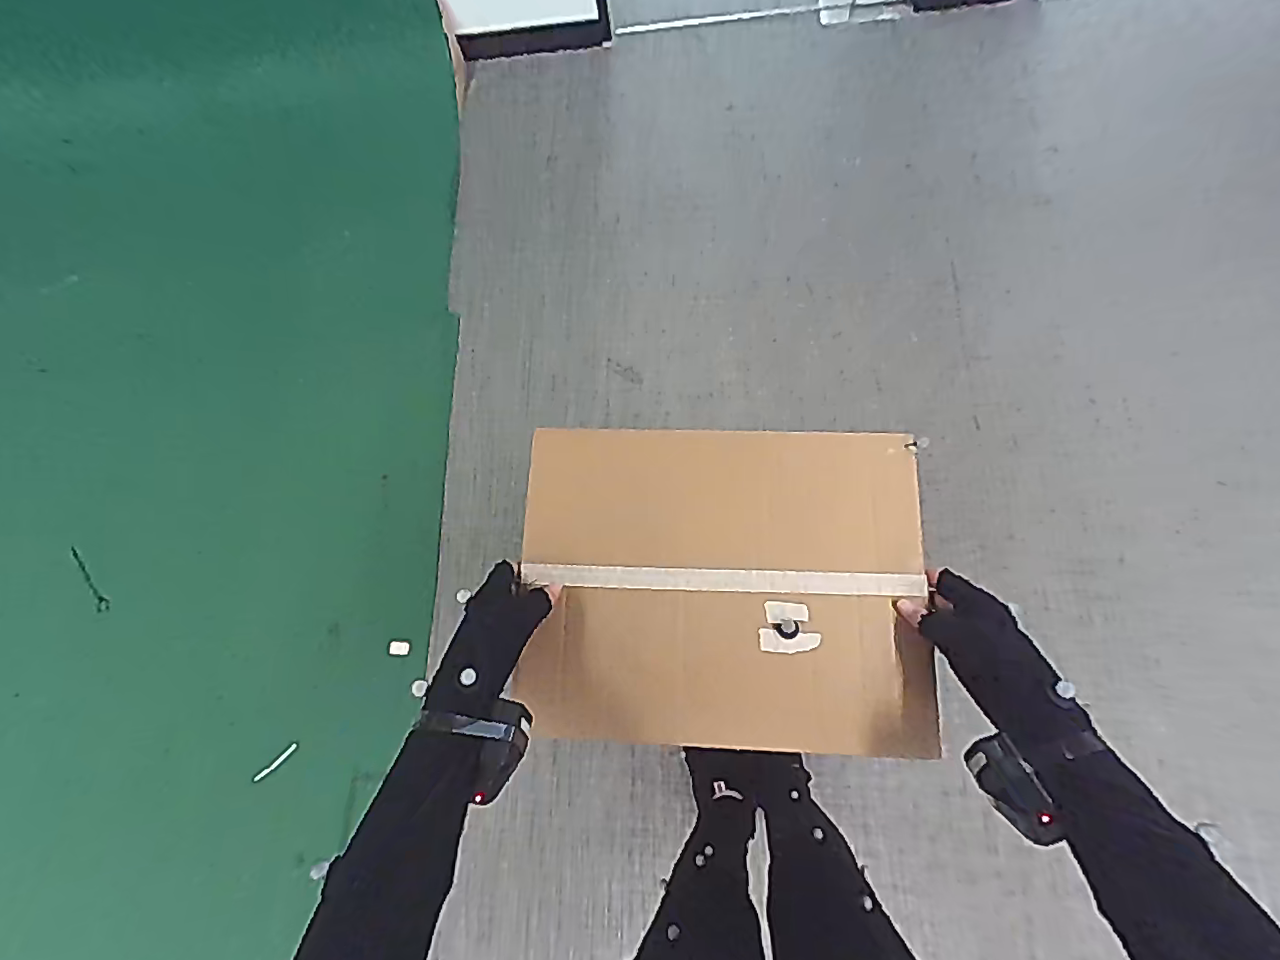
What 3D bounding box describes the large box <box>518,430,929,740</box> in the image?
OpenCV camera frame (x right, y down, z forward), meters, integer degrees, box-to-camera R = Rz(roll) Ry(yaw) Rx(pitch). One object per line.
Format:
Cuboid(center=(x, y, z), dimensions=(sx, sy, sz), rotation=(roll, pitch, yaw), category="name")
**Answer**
Cuboid(center=(0.085, 0.133, 0.700), dimensions=(0.408, 0.320, 0.320), rotation=(2, 76, 3), category="large box")
